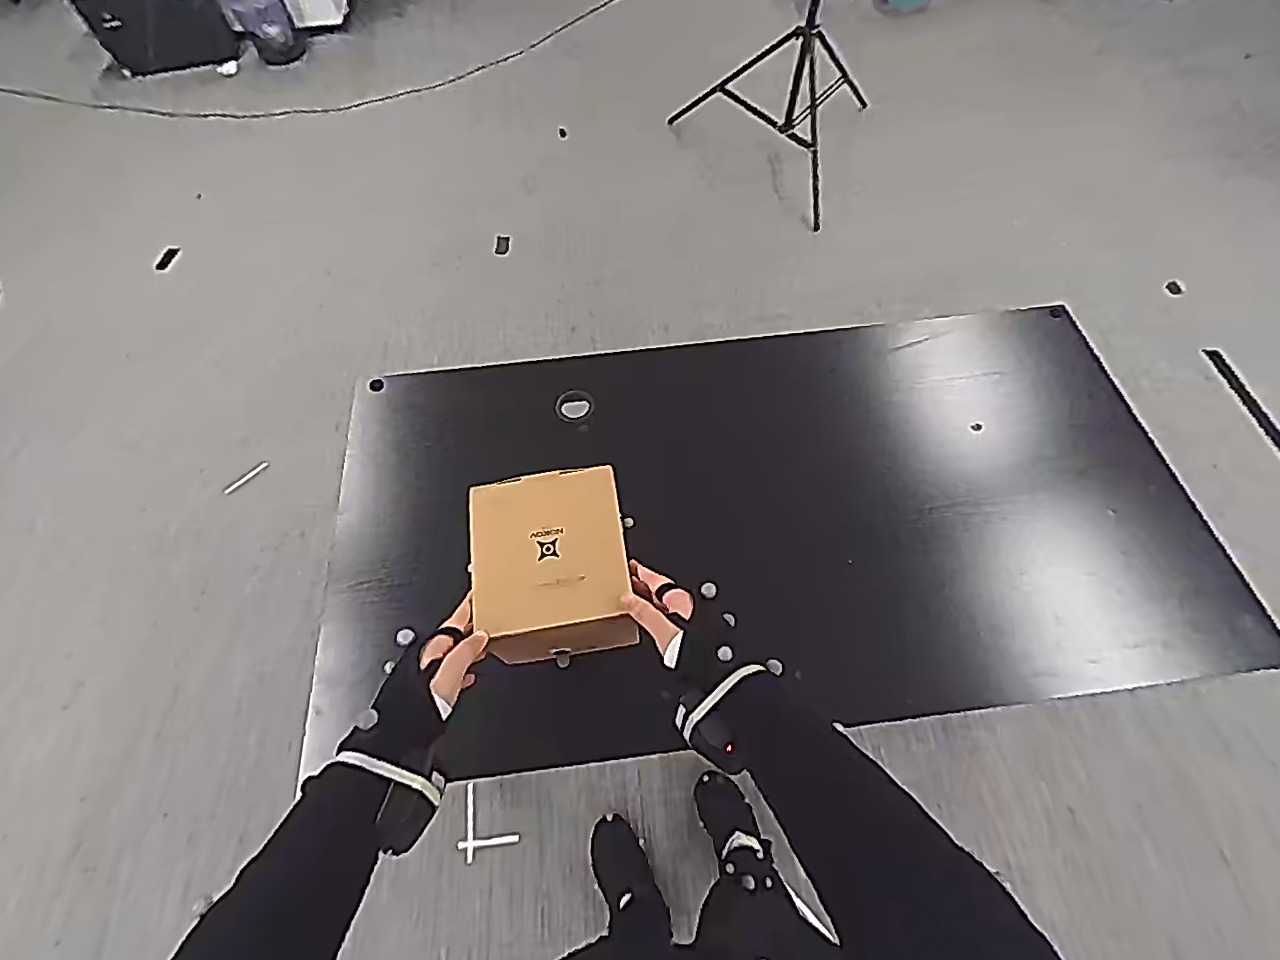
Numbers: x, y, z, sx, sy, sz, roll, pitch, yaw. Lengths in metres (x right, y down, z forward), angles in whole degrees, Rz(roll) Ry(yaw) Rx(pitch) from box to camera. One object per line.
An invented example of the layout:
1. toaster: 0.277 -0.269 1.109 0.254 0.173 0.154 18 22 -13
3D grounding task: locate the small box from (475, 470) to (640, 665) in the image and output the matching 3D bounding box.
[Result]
1. small box: -0.095 0.112 0.659 0.168 0.176 0.179 -11 64 -3
